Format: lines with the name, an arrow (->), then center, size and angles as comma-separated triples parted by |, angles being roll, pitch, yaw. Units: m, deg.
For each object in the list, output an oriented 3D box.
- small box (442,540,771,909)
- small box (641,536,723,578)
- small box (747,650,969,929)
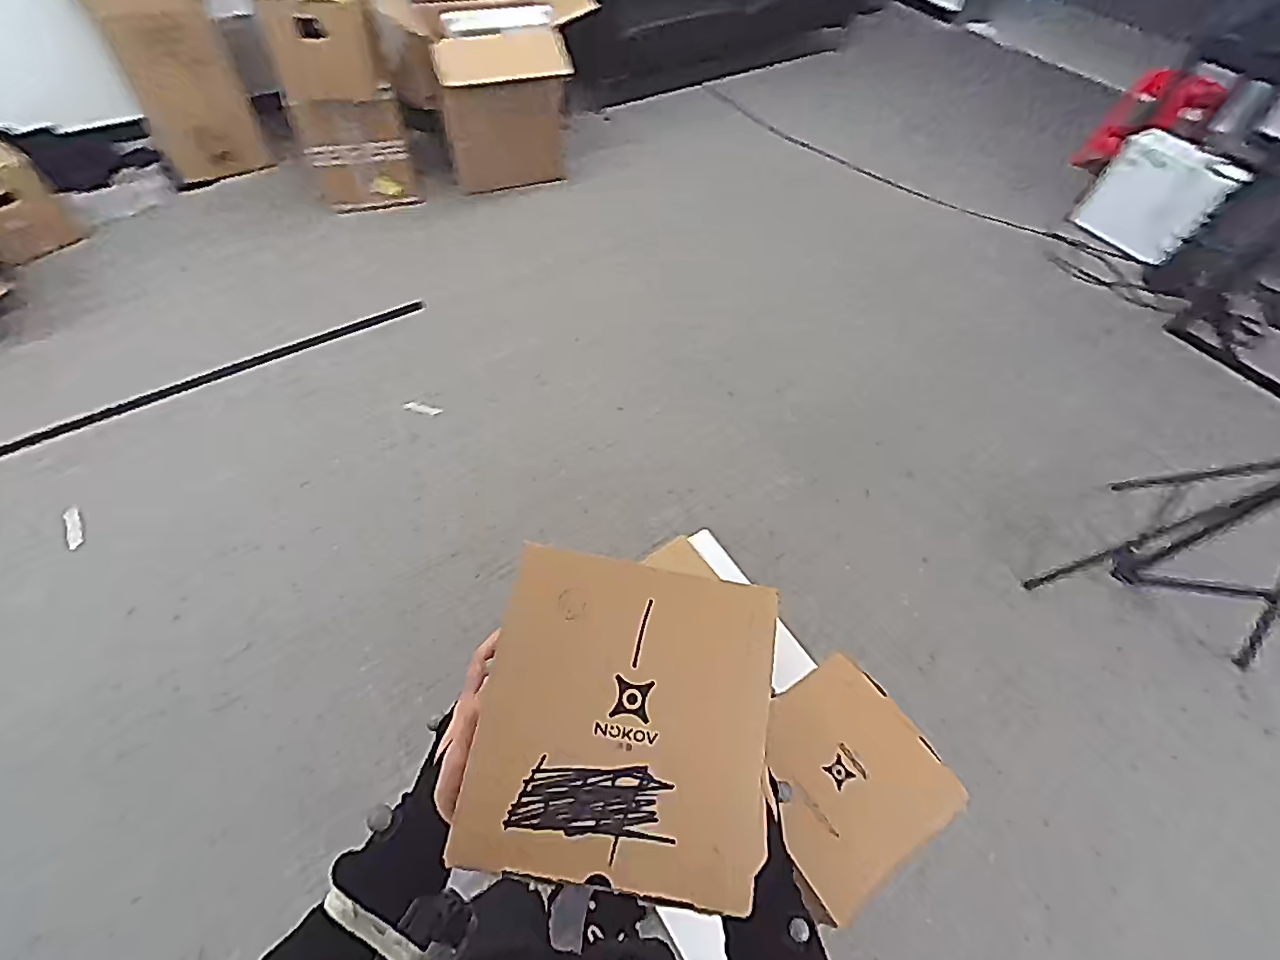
small box -> -0.019, 0.158, 0.386 | 0.168, 0.176, 0.179 | 11, 70, -3
small box -> 0.042, 0.221, 0.814 | 0.179, 0.176, 0.168 | -30, 63, -21
small box -> 0.183, 0.314, 0.565 | 0.179, 0.176, 0.168 | -28, 60, -20
